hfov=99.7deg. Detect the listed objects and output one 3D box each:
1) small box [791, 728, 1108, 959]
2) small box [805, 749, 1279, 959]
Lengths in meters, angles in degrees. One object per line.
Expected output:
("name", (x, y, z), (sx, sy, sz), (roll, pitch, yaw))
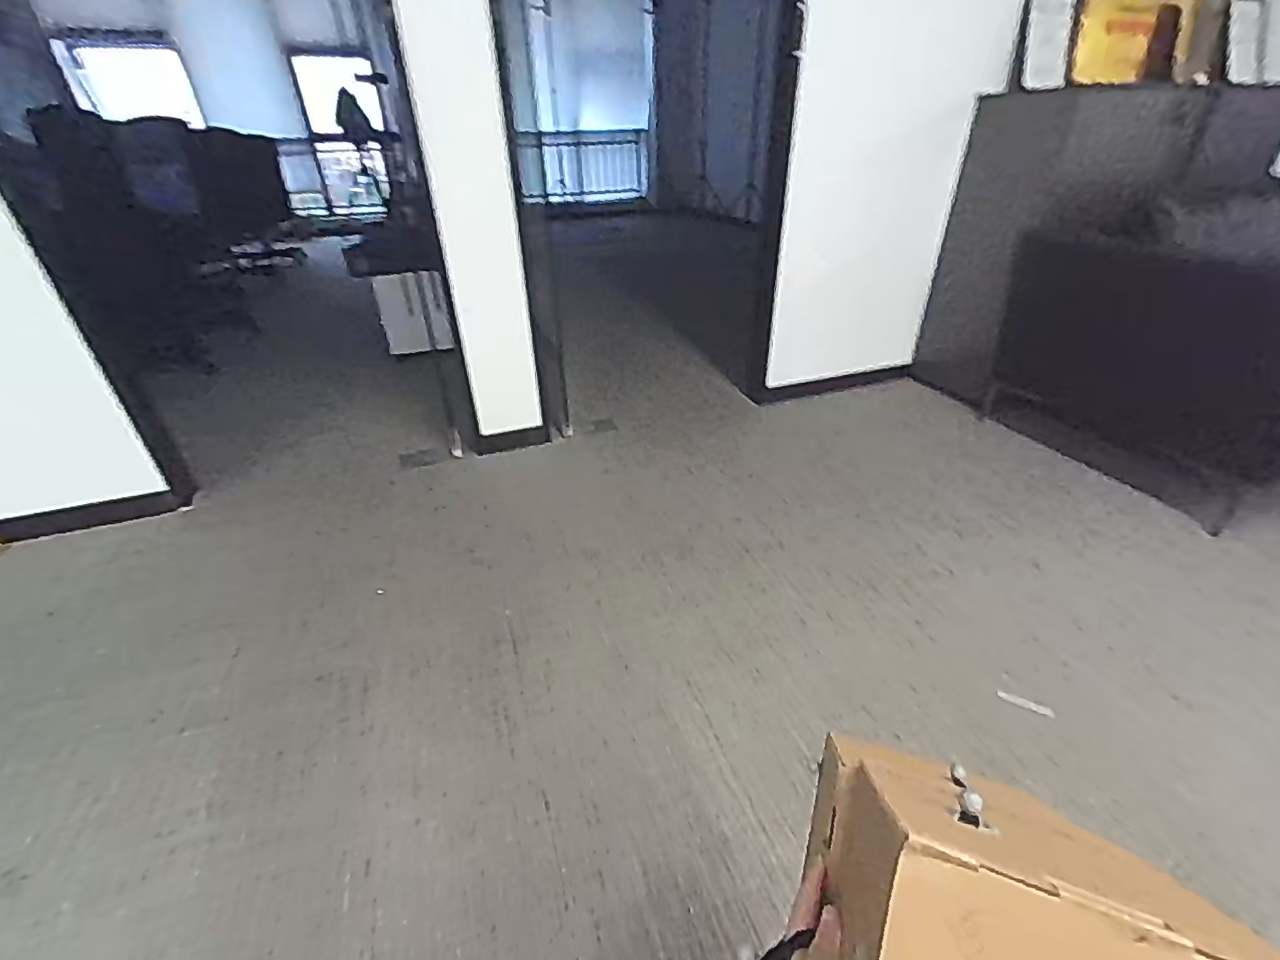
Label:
("small box", (0.222, 0.312, 0.432), (0.179, 0.176, 0.168), (10, 77, 17))
("small box", (0.183, 0.266, 0.280), (0.168, 0.176, 0.179), (13, 79, 19))
